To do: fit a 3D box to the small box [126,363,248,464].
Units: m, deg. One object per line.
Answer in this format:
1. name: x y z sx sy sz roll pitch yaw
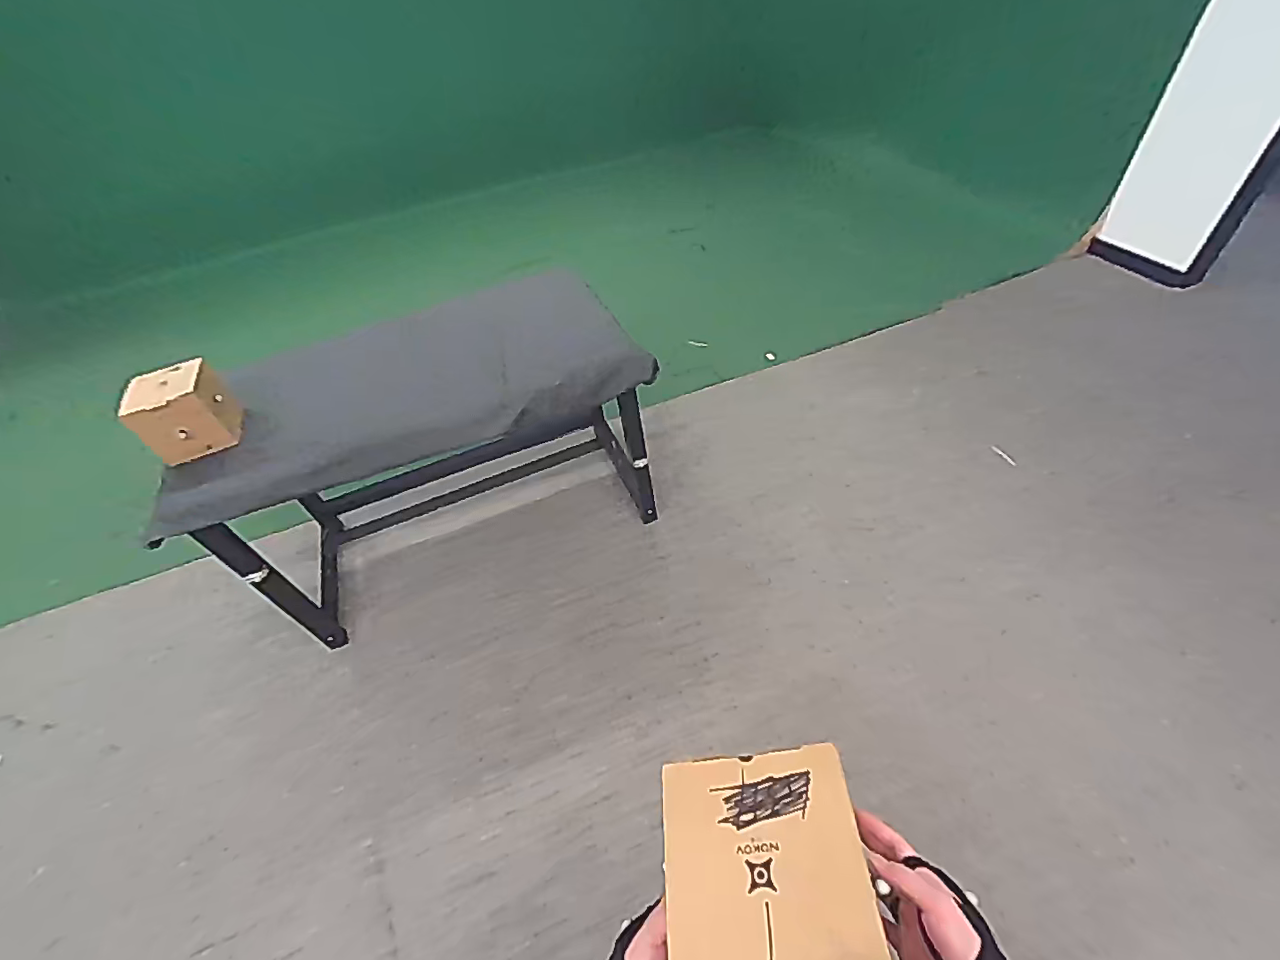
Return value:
1. small box: -1.130 -0.161 1.366 0.168 0.176 0.179 -22 49 -12
